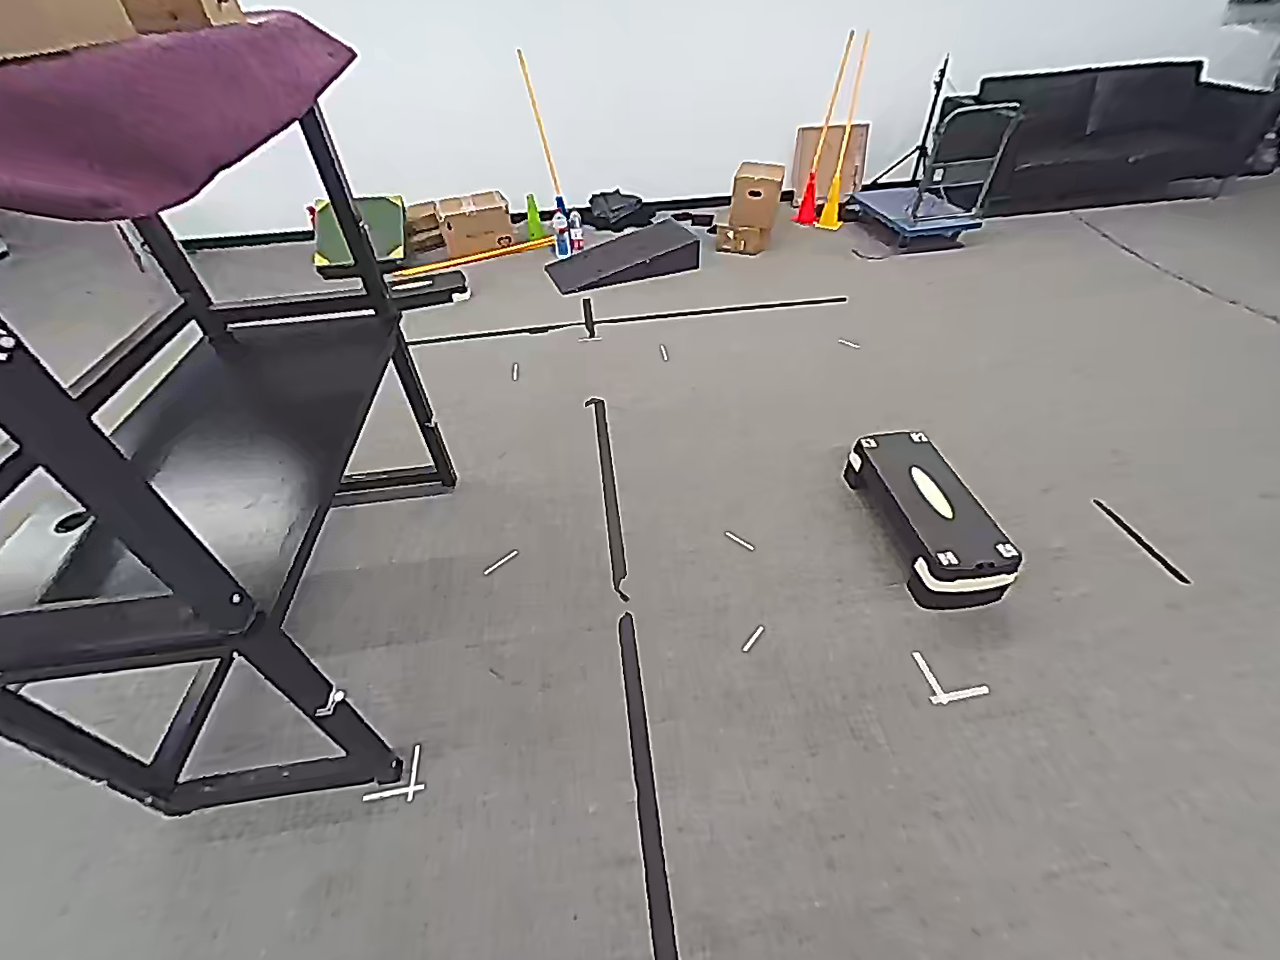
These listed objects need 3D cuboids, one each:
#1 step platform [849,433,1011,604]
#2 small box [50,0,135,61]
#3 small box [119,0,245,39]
[{"bbox_3d":[0.995,0.101,1.926,0.286,0.204,0.684,-3,42,0],"label":"step platform"},{"bbox_3d":[-0.886,-0.707,0.766,0.168,0.176,0.179,-6,44,-2],"label":"small box"},{"bbox_3d":[-0.902,-0.957,1.032,0.168,0.176,0.179,-8,43,-4],"label":"small box"}]
